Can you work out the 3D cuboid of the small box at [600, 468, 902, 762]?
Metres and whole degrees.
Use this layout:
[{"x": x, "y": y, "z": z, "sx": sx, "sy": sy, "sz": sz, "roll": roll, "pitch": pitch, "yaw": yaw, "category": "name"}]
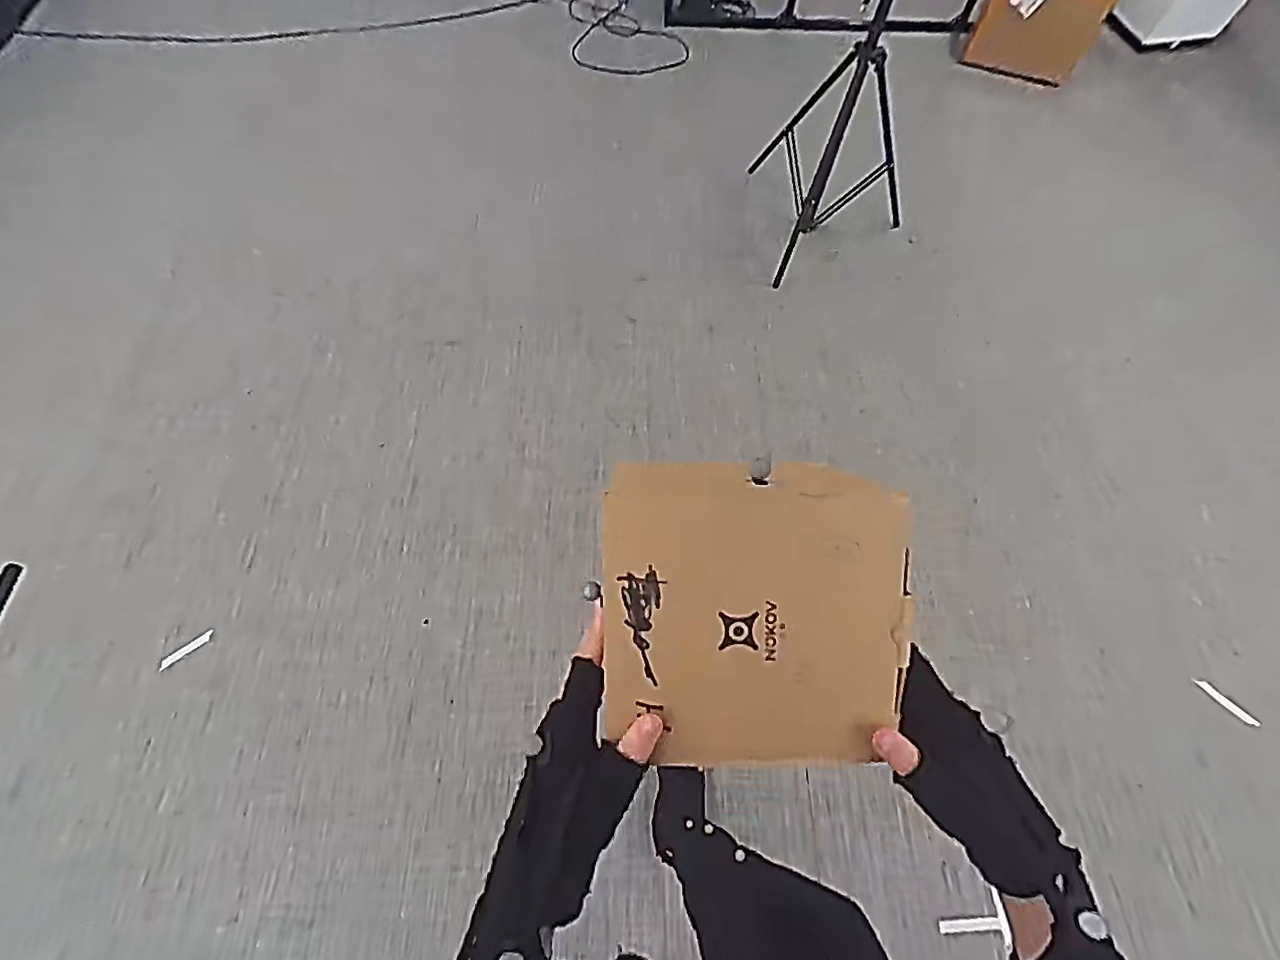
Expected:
[{"x": 0.062, "y": 0.079, "z": 0.397, "sx": 0.179, "sy": 0.176, "sz": 0.168, "roll": 0, "pitch": 96, "yaw": -1, "category": "small box"}]
